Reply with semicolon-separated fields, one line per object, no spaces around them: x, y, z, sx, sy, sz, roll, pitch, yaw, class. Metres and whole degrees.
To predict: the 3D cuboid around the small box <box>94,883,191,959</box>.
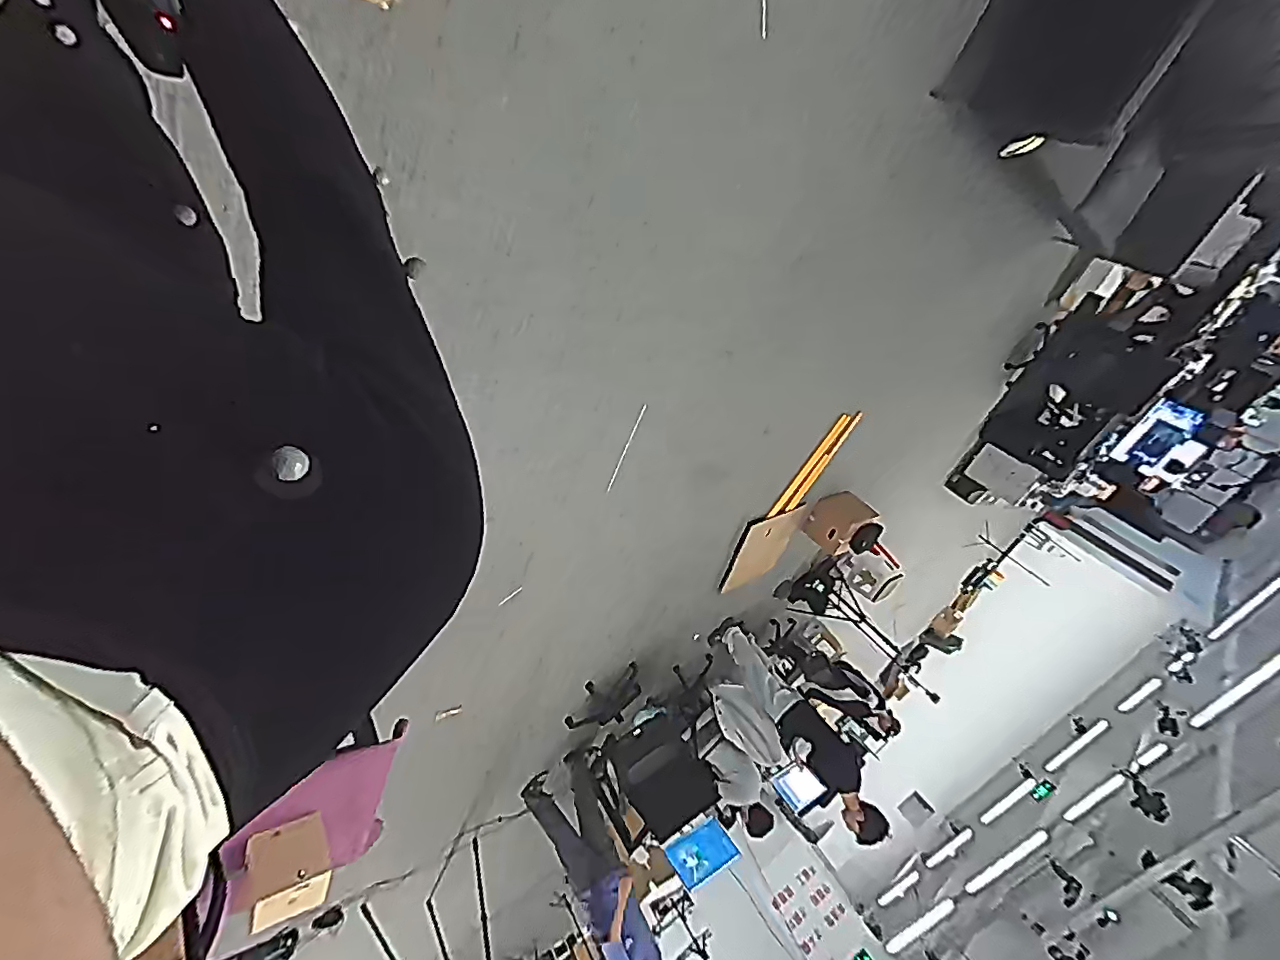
-1.208;1.130;1.315;0.168;0.176;0.179;-2;129;-42;small box

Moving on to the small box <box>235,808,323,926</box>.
-0.962;1.018;1.435;0.168;0.176;0.179;-1;127;-43;small box
